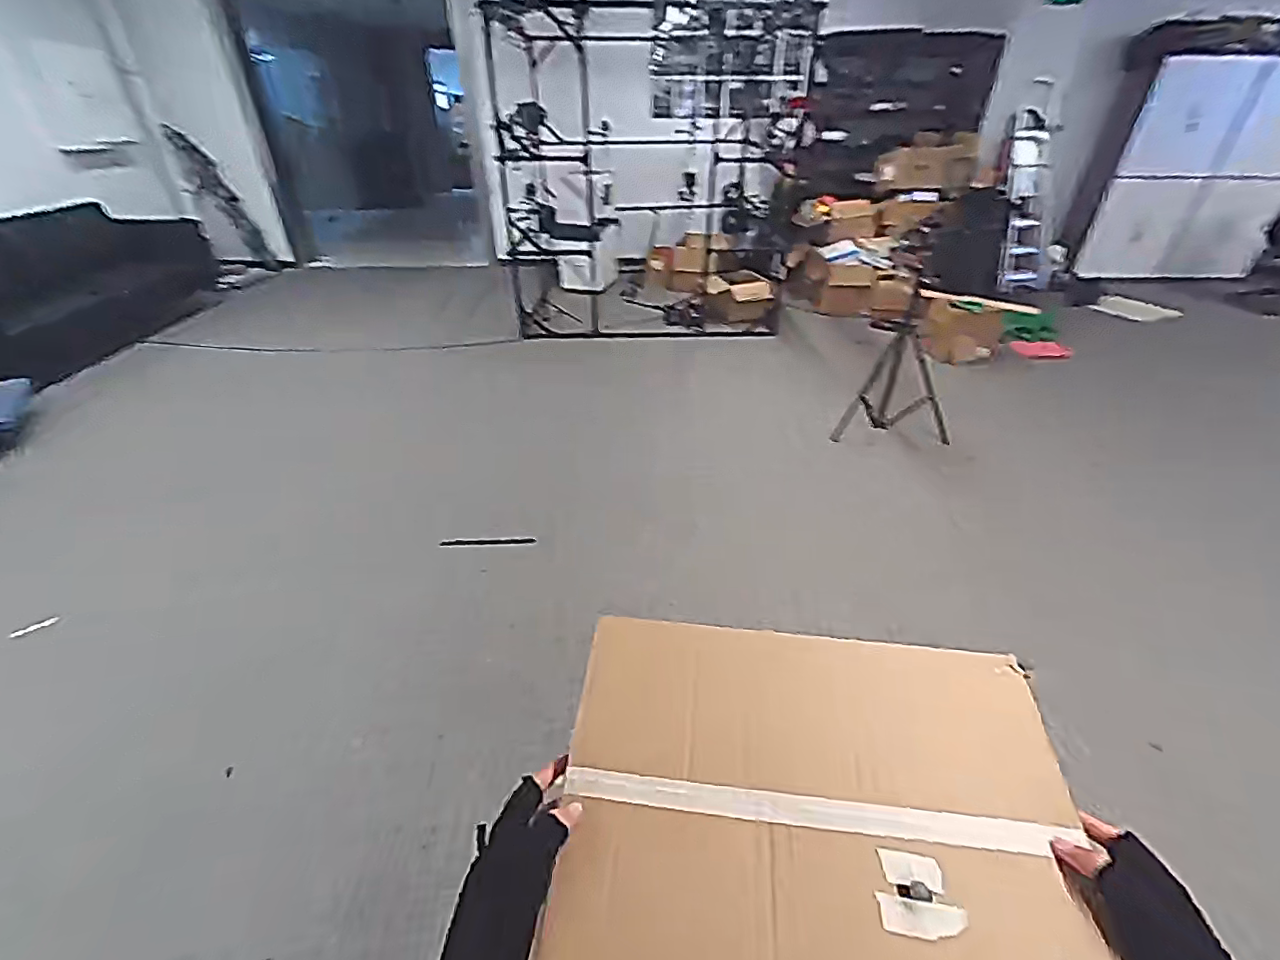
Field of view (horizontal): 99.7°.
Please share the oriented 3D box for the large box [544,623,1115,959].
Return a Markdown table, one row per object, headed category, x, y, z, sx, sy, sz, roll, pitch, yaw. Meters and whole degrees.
| category | x | y | z | sx | sy | sz | roll | pitch | yaw |
| --- | --- | --- | --- | --- | --- | --- | --- | --- | --- |
| large box | 0.145 | 0.376 | 0.550 | 0.408 | 0.320 | 0.320 | 4 | 46 | 7 |
